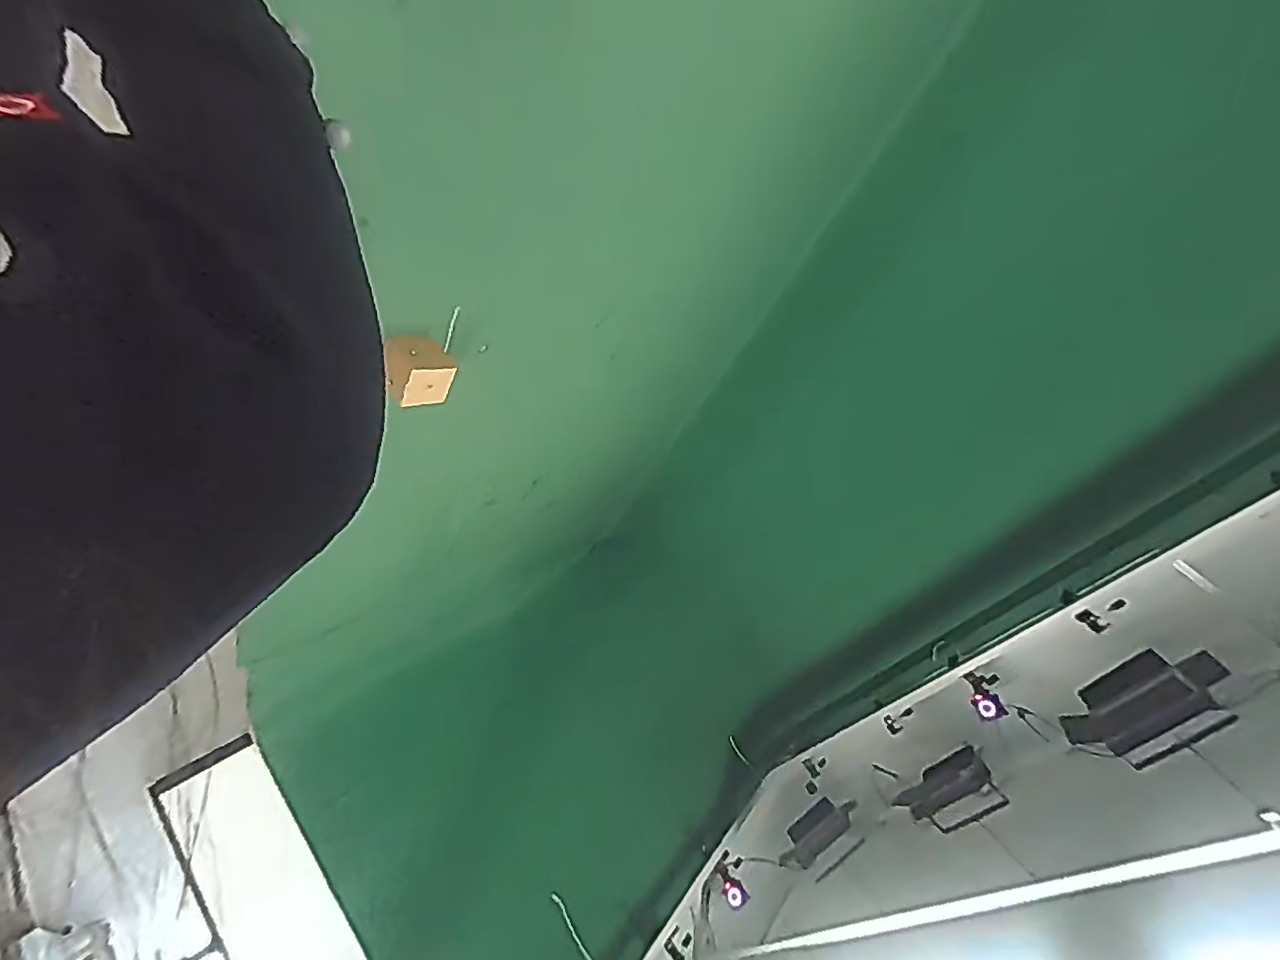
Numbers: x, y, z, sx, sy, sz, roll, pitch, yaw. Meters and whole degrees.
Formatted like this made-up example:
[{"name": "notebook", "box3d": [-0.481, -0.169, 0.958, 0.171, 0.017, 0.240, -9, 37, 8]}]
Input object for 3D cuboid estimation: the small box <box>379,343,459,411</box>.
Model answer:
[{"name": "small box", "box3d": [-0.773, -0.362, 1.876, 0.179, 0.176, 0.168, -20, 154, -54]}]
